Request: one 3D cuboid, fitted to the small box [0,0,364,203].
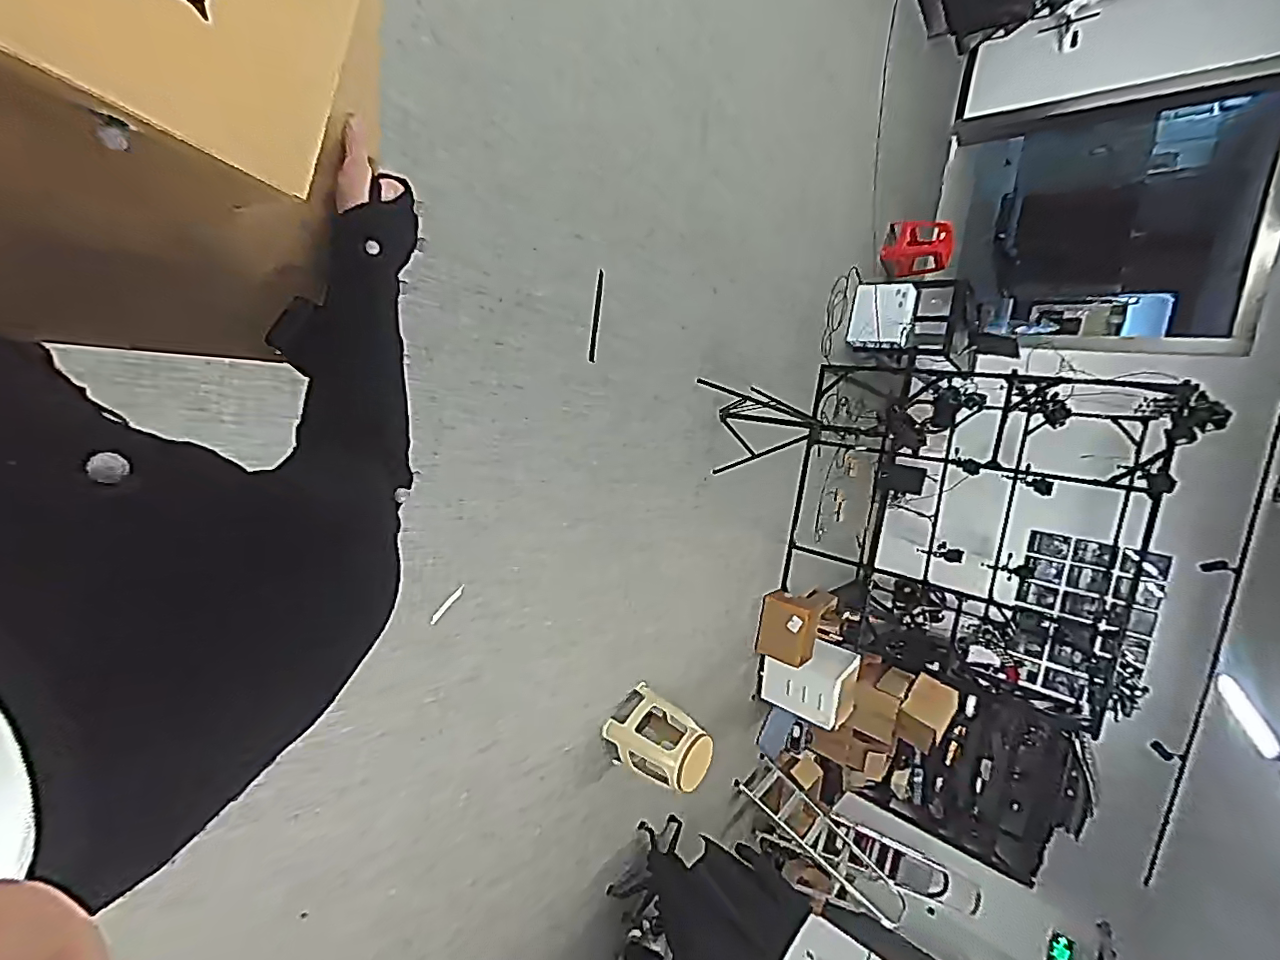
[{"bbox_3d":[-0.330,-0.316,0.374,0.179,0.176,0.168,14,95,-50],"label":"small box"}]
